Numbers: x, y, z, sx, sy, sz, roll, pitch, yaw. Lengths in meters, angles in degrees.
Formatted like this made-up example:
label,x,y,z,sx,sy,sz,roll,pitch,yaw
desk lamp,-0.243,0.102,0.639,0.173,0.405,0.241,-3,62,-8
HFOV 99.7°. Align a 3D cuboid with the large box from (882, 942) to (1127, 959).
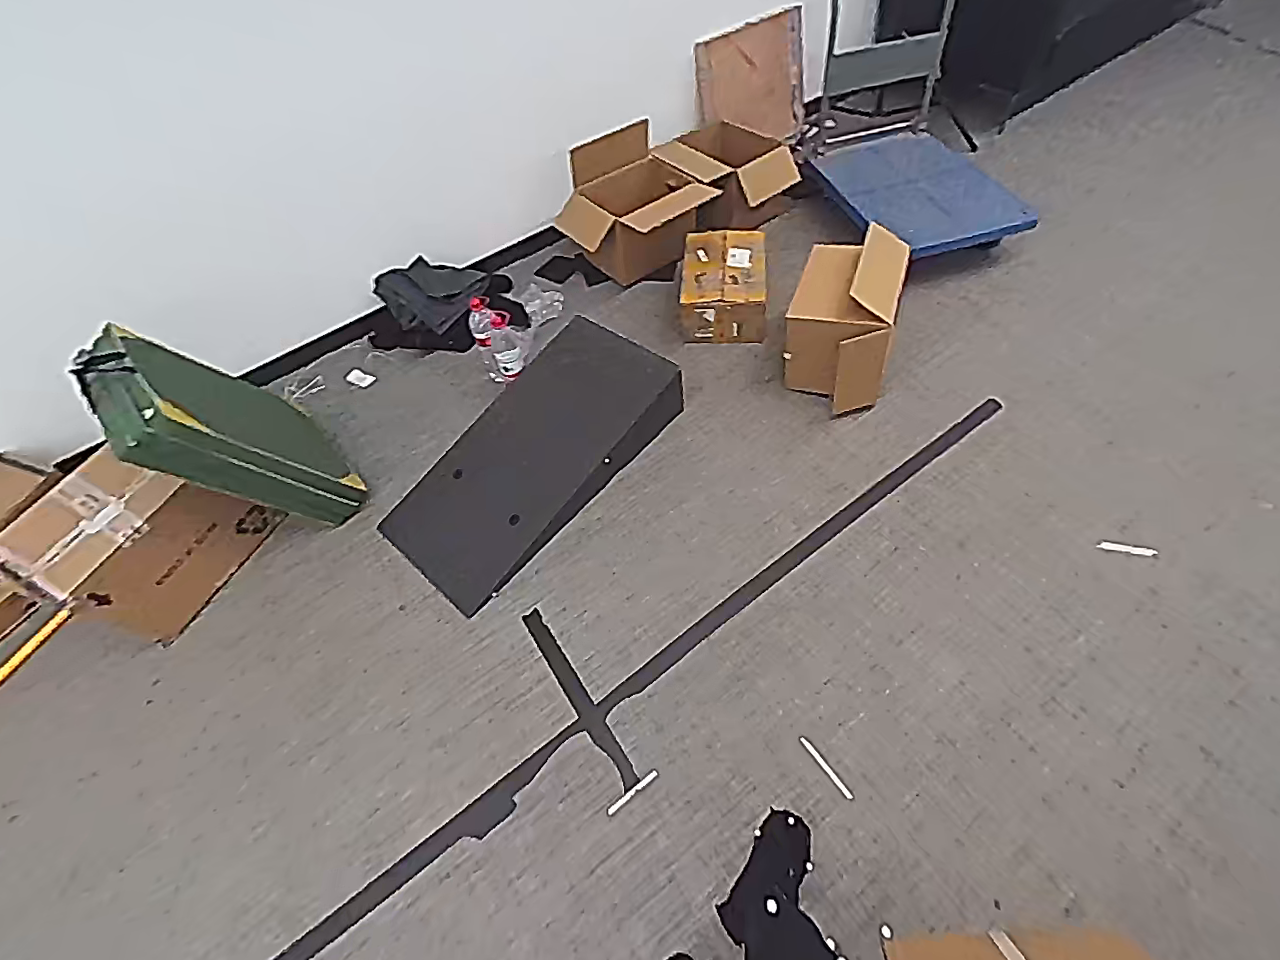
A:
label,x,y,z,sx,sy,sz,roll,pitch,yaw
large box,0.482,0.756,0.533,0.320,0.408,0.320,-8,74,9
